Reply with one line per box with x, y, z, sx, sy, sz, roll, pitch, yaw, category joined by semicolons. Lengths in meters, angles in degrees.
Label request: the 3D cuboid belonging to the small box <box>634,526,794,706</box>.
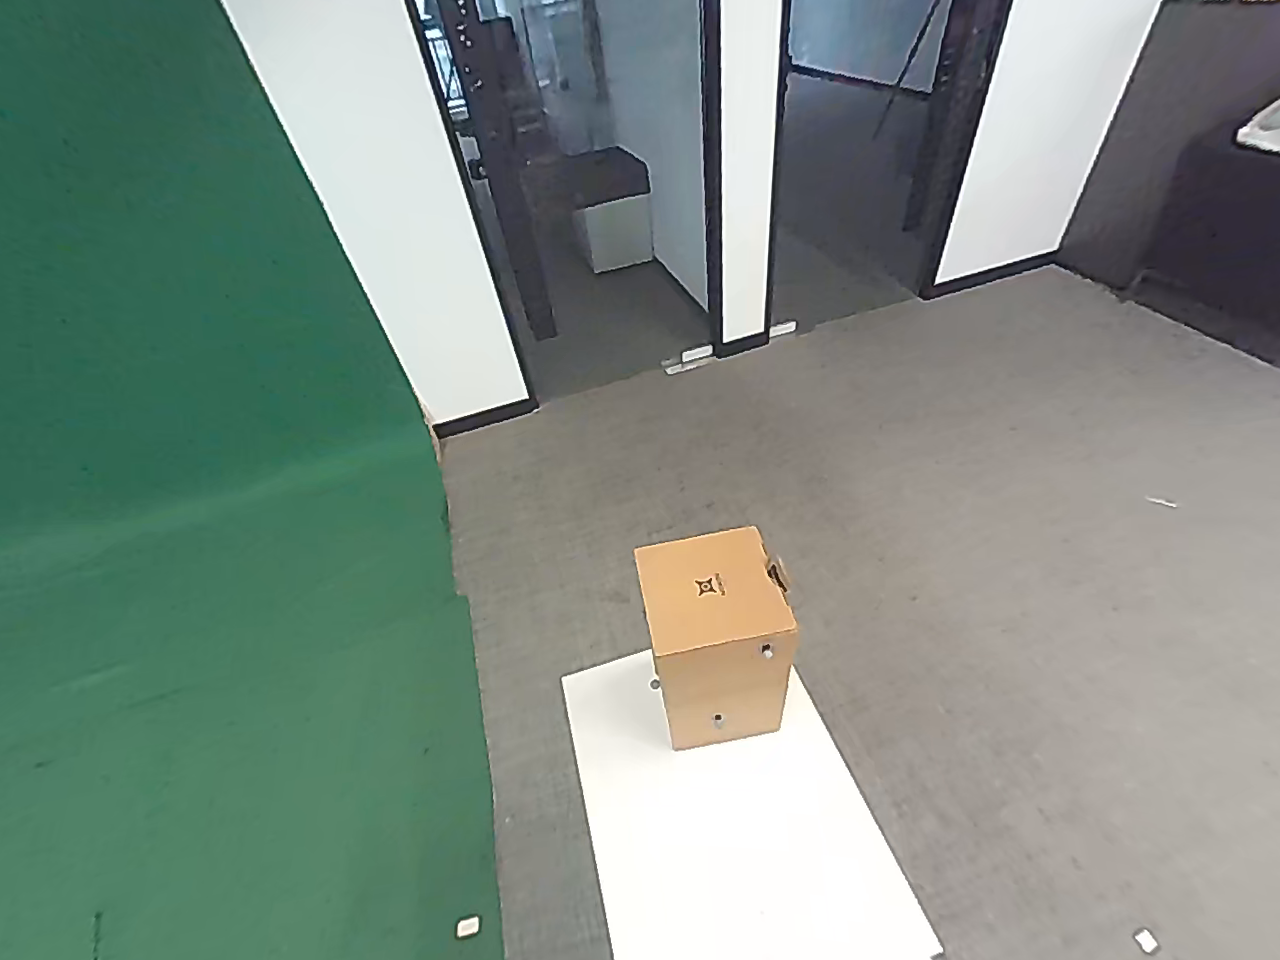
0.097;0.191;0.748;0.179;0.176;0.168;-10;44;-3;small box

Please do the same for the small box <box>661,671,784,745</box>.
0.118;0.303;0.865;0.179;0.176;0.168;-11;45;-1;small box
